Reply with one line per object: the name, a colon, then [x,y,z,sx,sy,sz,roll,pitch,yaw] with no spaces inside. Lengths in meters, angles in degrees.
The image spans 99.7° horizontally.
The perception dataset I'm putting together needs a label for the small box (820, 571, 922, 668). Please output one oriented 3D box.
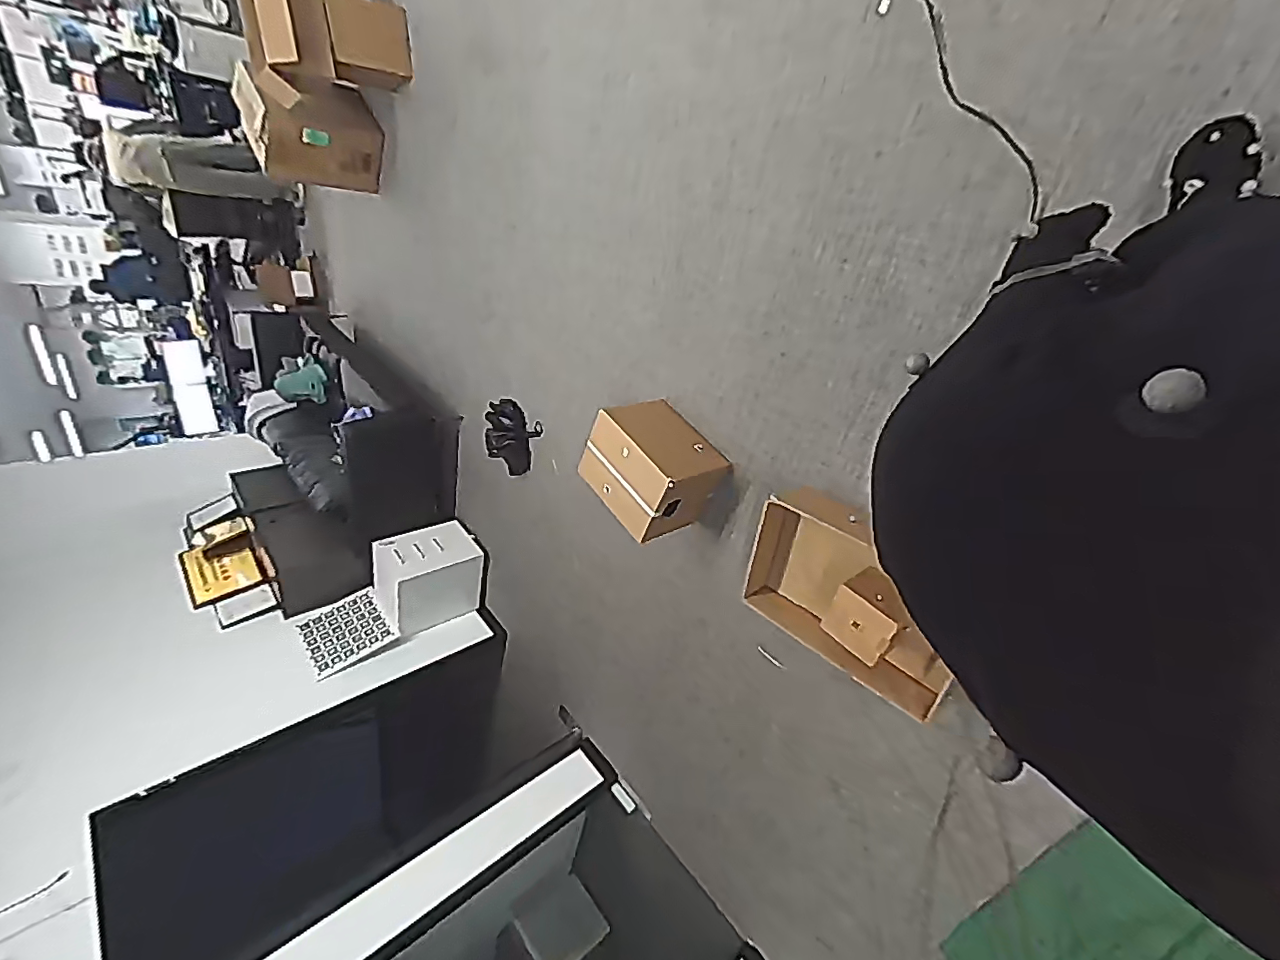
small box: [0.646,0.379,1.505,0.179,0.176,0.168,39,128,37]
